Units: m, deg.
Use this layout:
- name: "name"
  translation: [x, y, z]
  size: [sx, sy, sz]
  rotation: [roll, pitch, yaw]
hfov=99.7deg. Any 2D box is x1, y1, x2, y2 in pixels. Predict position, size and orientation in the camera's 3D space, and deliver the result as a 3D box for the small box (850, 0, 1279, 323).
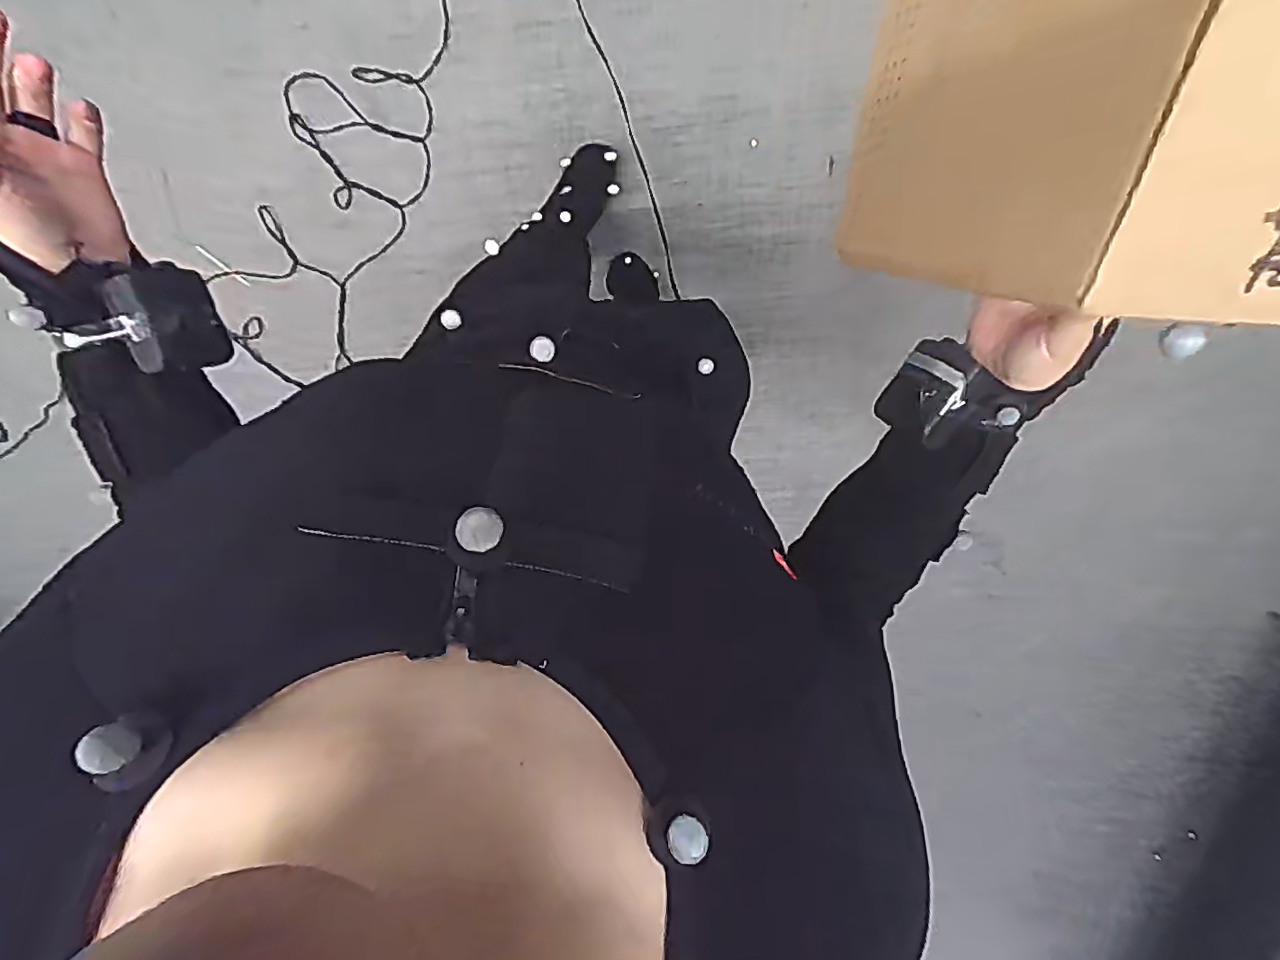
- name: "small box"
  translation: [0.205, -0.162, 0.208]
  size: [0.168, 0.176, 0.179]
  rotation: [0, 116, -7]
